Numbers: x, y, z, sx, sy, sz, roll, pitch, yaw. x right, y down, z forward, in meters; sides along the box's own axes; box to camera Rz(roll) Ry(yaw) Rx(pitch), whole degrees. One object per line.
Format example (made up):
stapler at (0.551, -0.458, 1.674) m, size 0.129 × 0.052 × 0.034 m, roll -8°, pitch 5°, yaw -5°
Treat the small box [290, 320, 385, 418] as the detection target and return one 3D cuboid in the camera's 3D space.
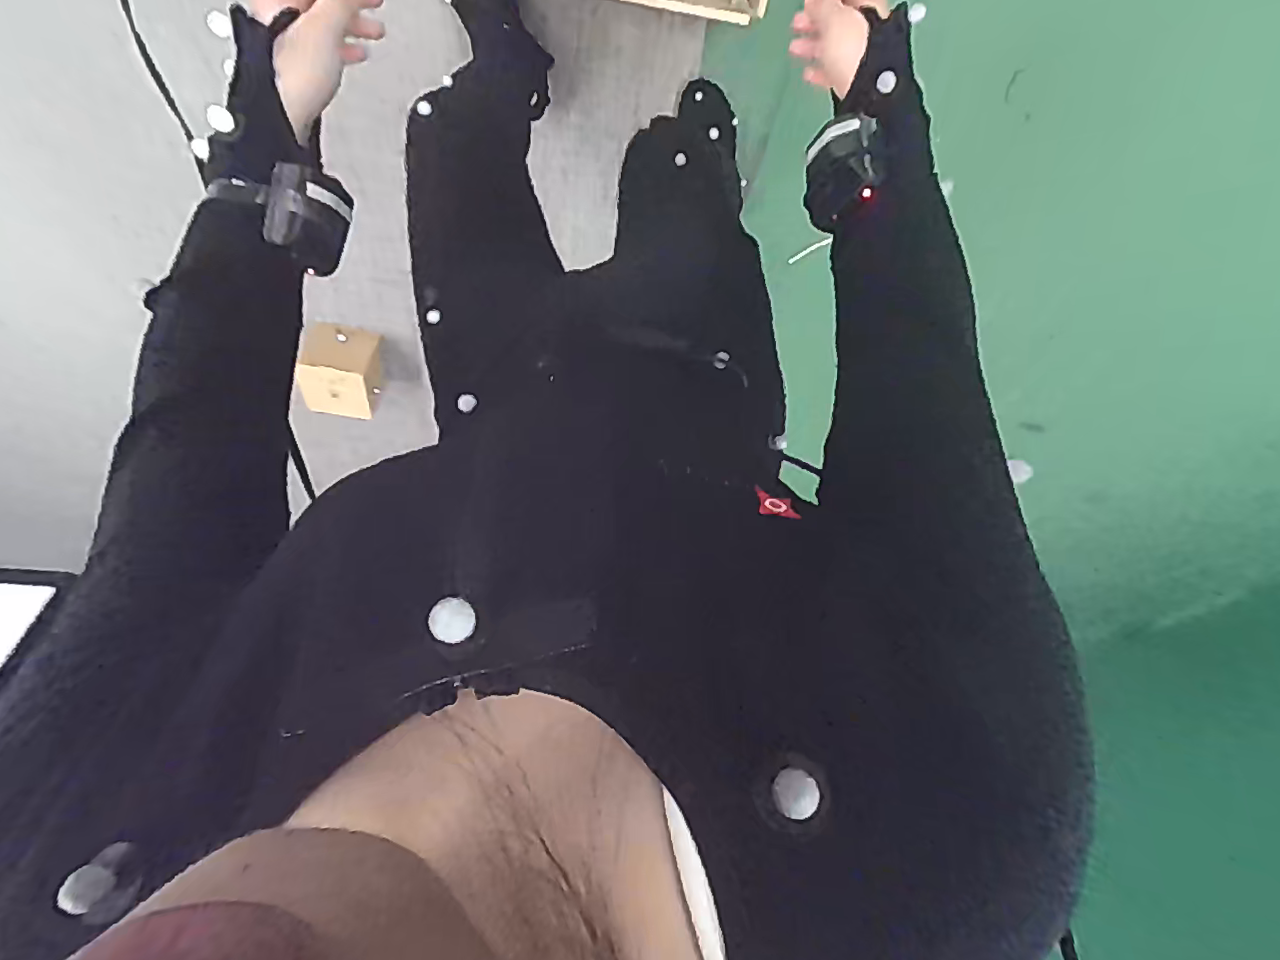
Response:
small box at (-0.806, -0.298, 1.462) m, size 0.168 × 0.176 × 0.179 m, roll 8°, pitch 142°, yaw -11°
